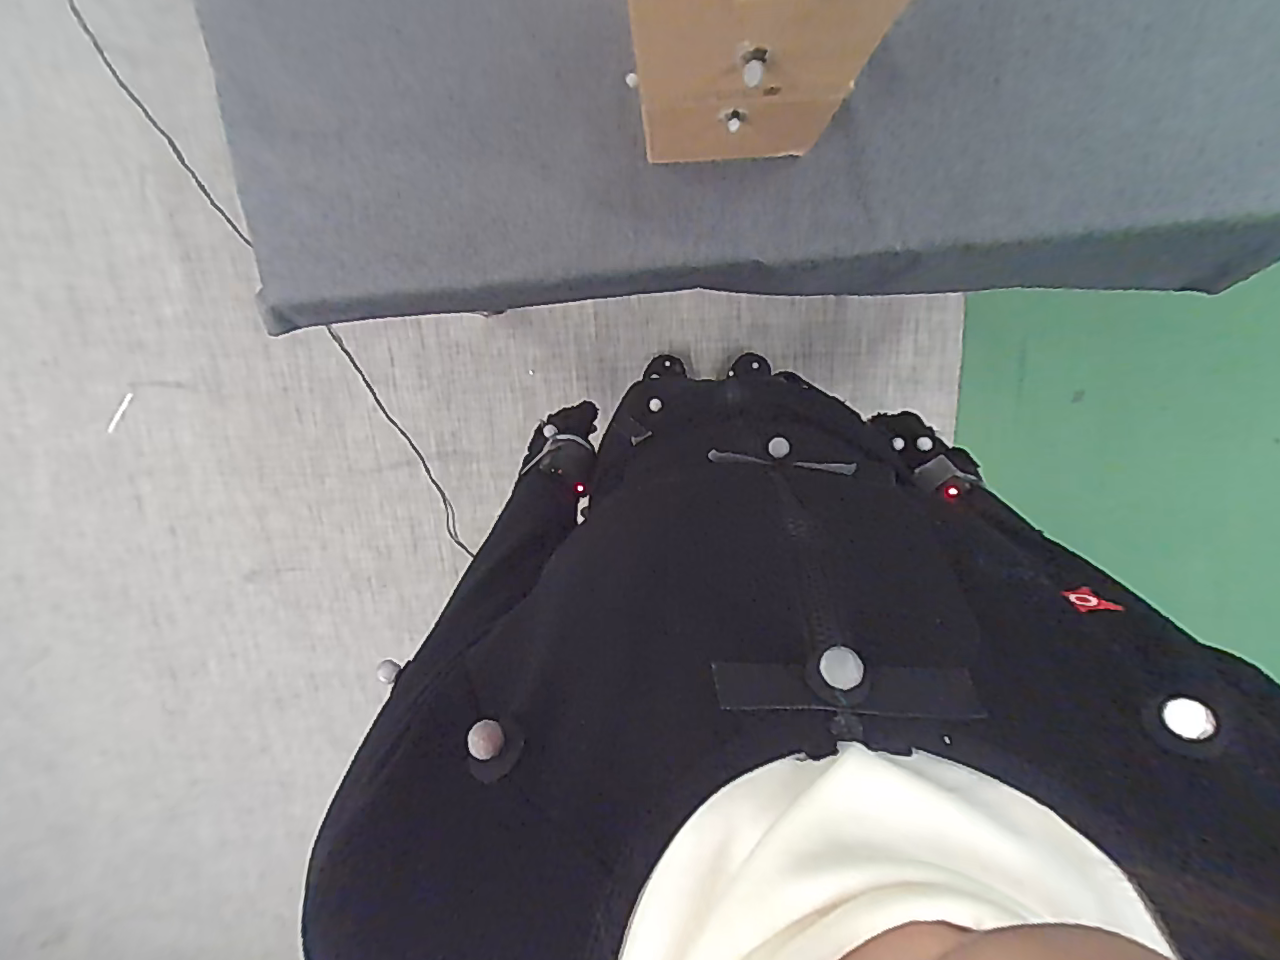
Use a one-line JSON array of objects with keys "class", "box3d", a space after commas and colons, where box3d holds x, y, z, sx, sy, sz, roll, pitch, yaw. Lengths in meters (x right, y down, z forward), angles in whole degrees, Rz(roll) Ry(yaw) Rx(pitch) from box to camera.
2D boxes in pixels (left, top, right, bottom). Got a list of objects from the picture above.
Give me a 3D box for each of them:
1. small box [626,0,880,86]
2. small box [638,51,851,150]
[{"class": "small box", "box3d": [0.076, -0.385, 0.351, 0.168, 0.176, 0.179, -1, 106, 4]}, {"class": "small box", "box3d": [0.088, -0.429, 0.508, 0.179, 0.176, 0.168, -2, 105, 3]}]
